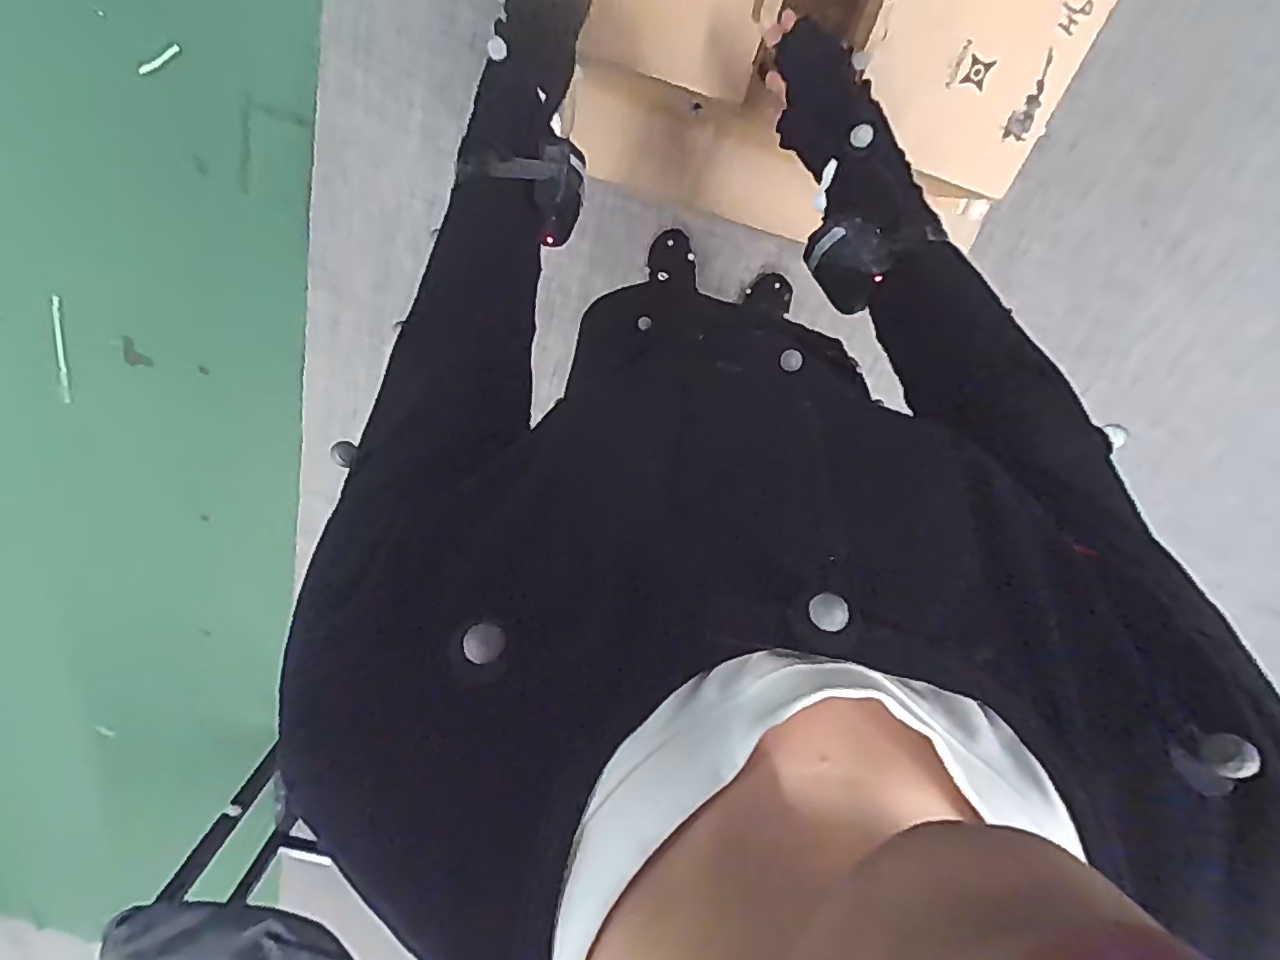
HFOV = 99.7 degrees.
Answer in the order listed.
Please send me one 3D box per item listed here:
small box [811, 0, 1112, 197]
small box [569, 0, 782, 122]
[{"bbox_3d":[0.294,-0.399,0.546,0.179,0.176,0.168,17,119,-3],"label":"small box"},{"bbox_3d":[0.044,-0.471,0.529,0.179,0.176,0.168,15,118,-2],"label":"small box"}]
